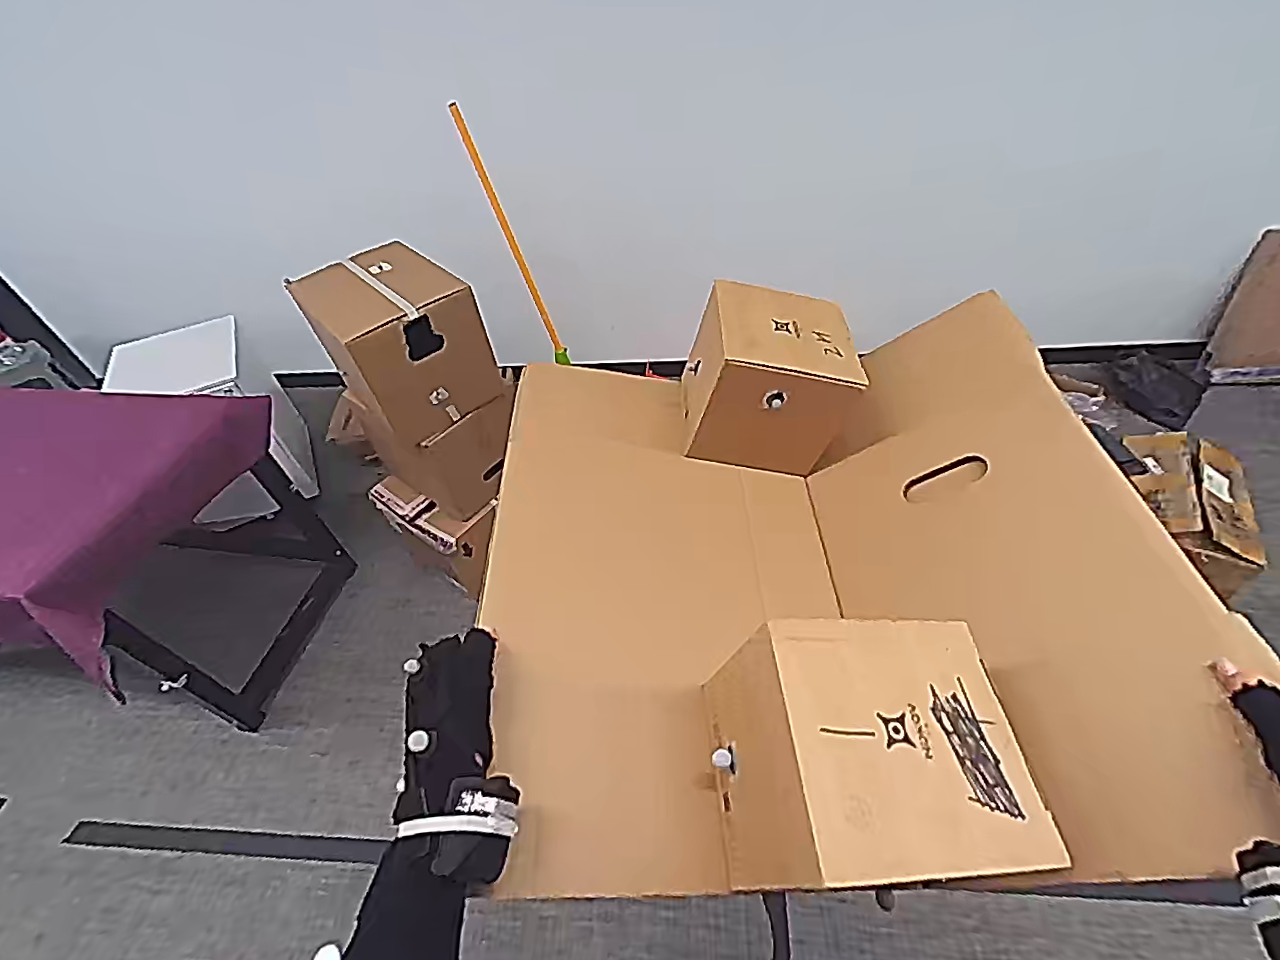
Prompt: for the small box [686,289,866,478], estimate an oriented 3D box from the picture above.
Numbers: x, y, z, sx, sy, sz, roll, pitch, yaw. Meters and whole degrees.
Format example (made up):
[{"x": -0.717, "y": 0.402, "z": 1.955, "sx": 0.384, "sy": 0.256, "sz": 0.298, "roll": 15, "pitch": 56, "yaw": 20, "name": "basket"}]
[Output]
[{"x": 0.162, "y": -0.121, "z": 0.716, "sx": 0.179, "sy": 0.176, "sz": 0.168, "roll": 10, "pitch": 51, "yaw": -8, "name": "small box"}]
